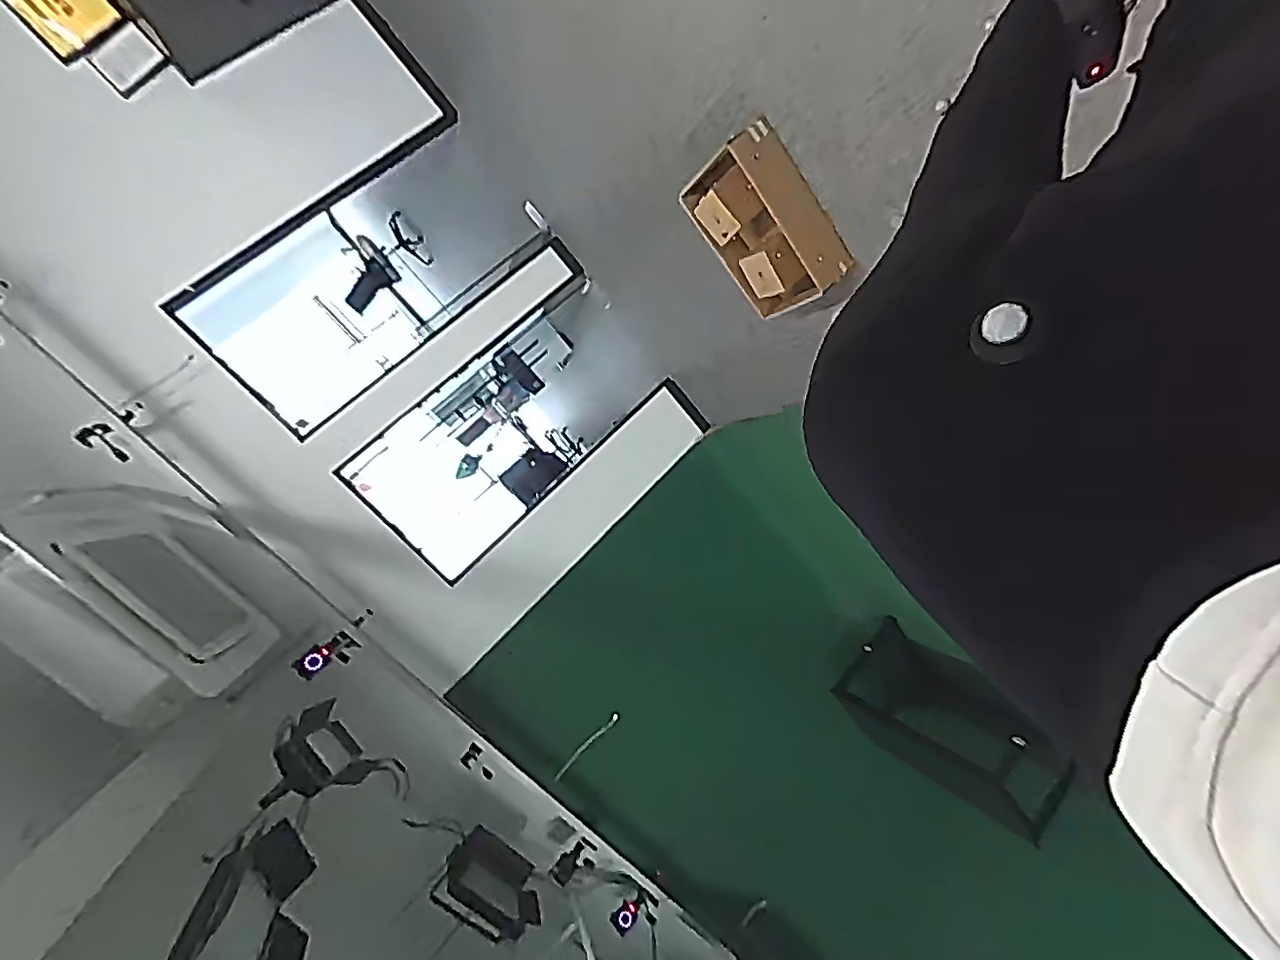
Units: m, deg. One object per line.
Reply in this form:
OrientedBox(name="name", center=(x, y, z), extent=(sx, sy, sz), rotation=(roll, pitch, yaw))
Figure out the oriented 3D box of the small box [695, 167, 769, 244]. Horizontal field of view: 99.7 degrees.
OrientedBox(name="small box", center=(0.348, -1.046, 2.048), extent=(0.179, 0.176, 0.168), rotation=(48, 166, -11))
